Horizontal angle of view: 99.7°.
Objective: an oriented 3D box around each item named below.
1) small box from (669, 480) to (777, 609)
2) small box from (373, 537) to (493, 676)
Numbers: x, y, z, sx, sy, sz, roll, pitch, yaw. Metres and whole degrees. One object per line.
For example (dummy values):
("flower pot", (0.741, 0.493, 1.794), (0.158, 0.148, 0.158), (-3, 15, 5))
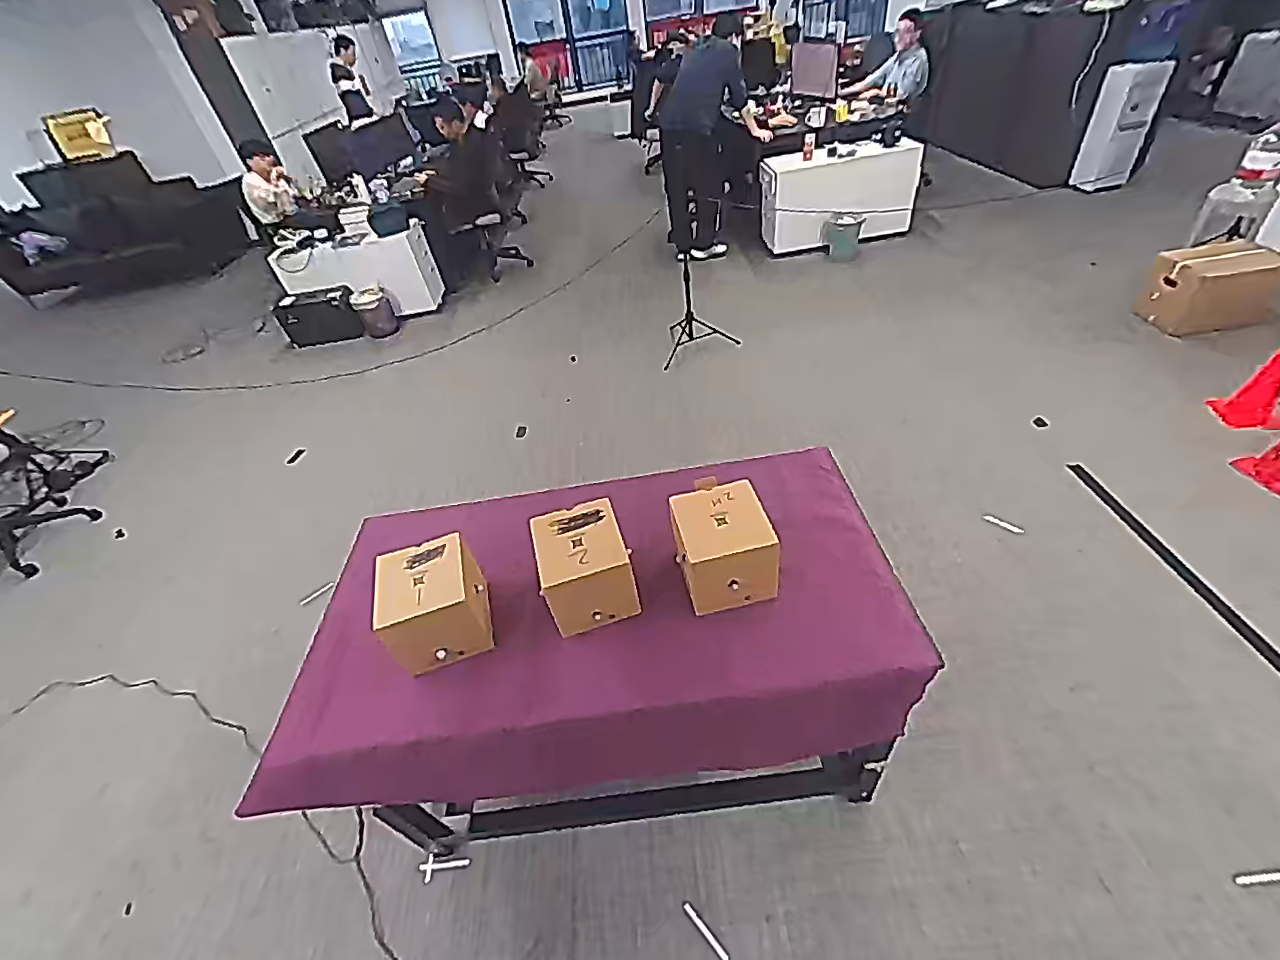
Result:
("small box", (0.162, 0.132, 1.061), (0.168, 0.176, 0.179), (-13, 41, -2))
("small box", (-0.399, 0.248, 1.059), (0.168, 0.176, 0.179), (-18, 43, -8))
